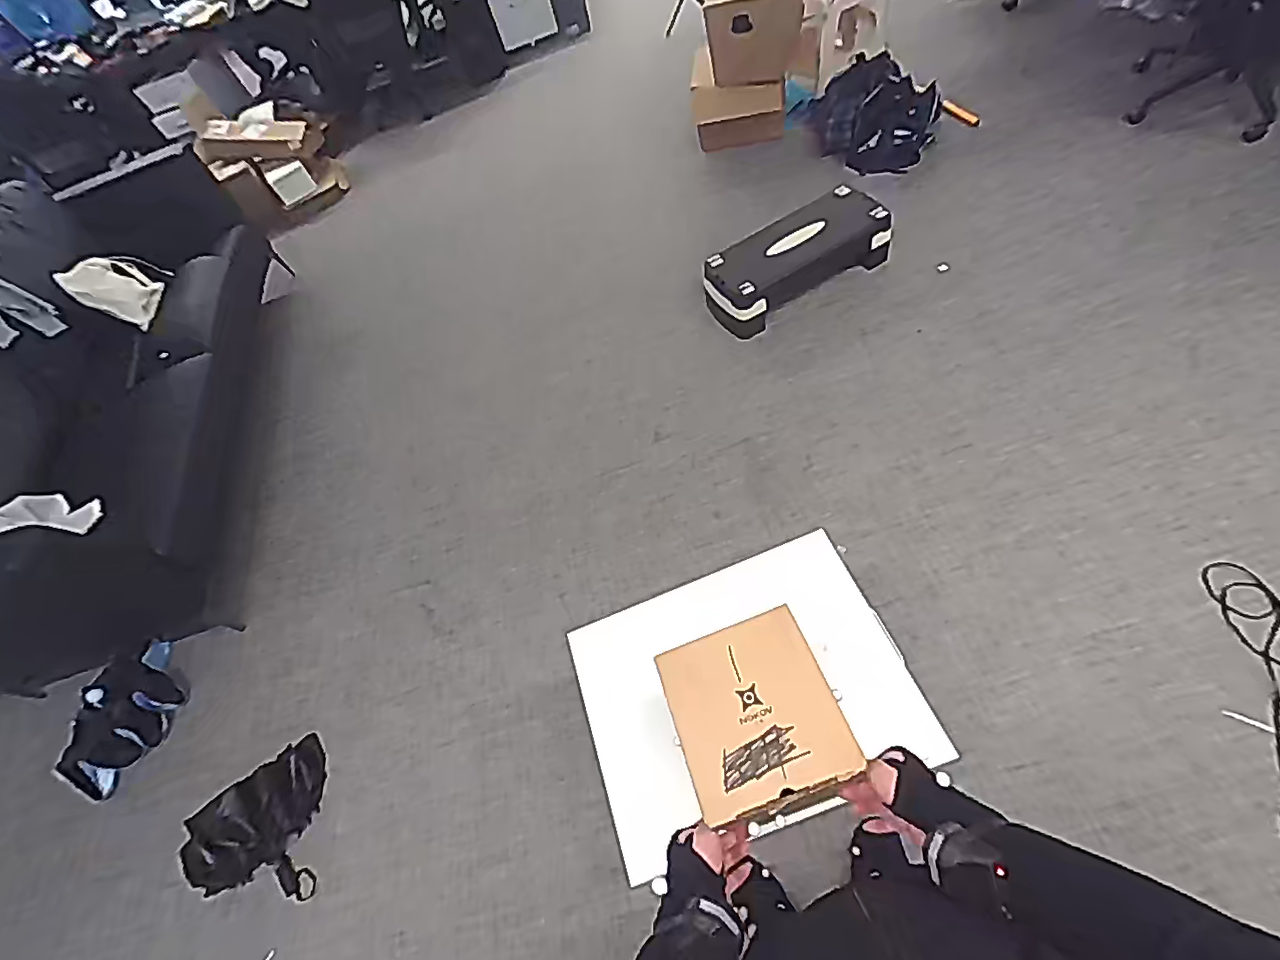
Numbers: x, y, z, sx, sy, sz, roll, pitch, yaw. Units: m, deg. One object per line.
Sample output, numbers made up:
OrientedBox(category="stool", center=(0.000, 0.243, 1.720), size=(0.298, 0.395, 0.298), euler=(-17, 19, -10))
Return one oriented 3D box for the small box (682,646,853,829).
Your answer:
OrientedBox(category="small box", center=(0.174, 0.366, 0.759), size=(0.168, 0.176, 0.179), euler=(-23, 54, 1))
